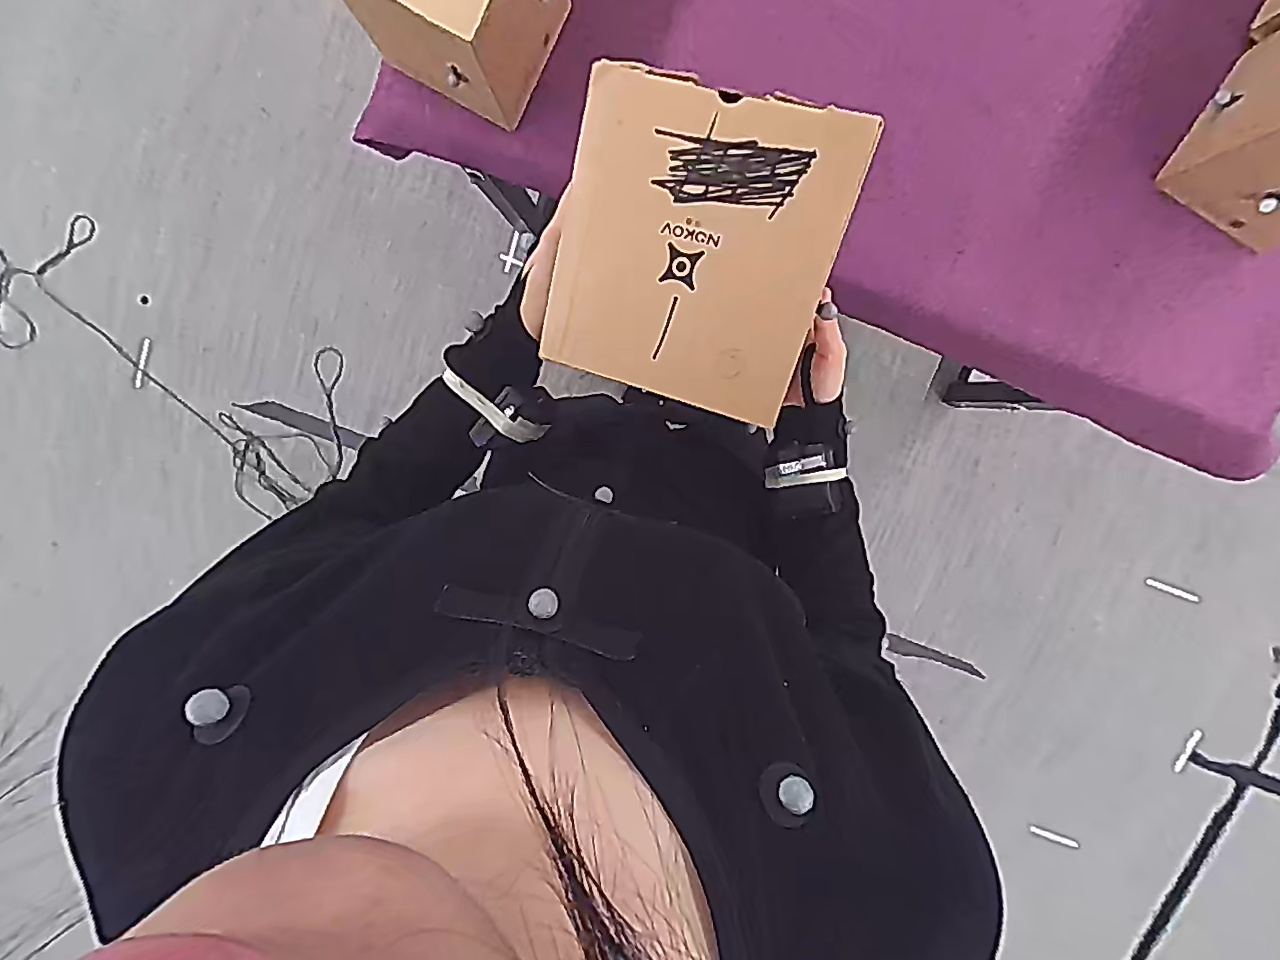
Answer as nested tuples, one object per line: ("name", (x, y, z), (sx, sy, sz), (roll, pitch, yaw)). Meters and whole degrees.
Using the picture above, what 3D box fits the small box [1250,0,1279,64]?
("small box", (0.814, -0.551, 0.552), (0.168, 0.176, 0.179), (24, 98, -3))

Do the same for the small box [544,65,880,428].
("small box", (0.052, -0.158, 0.403), (0.168, 0.176, 0.179), (19, 110, 10))
